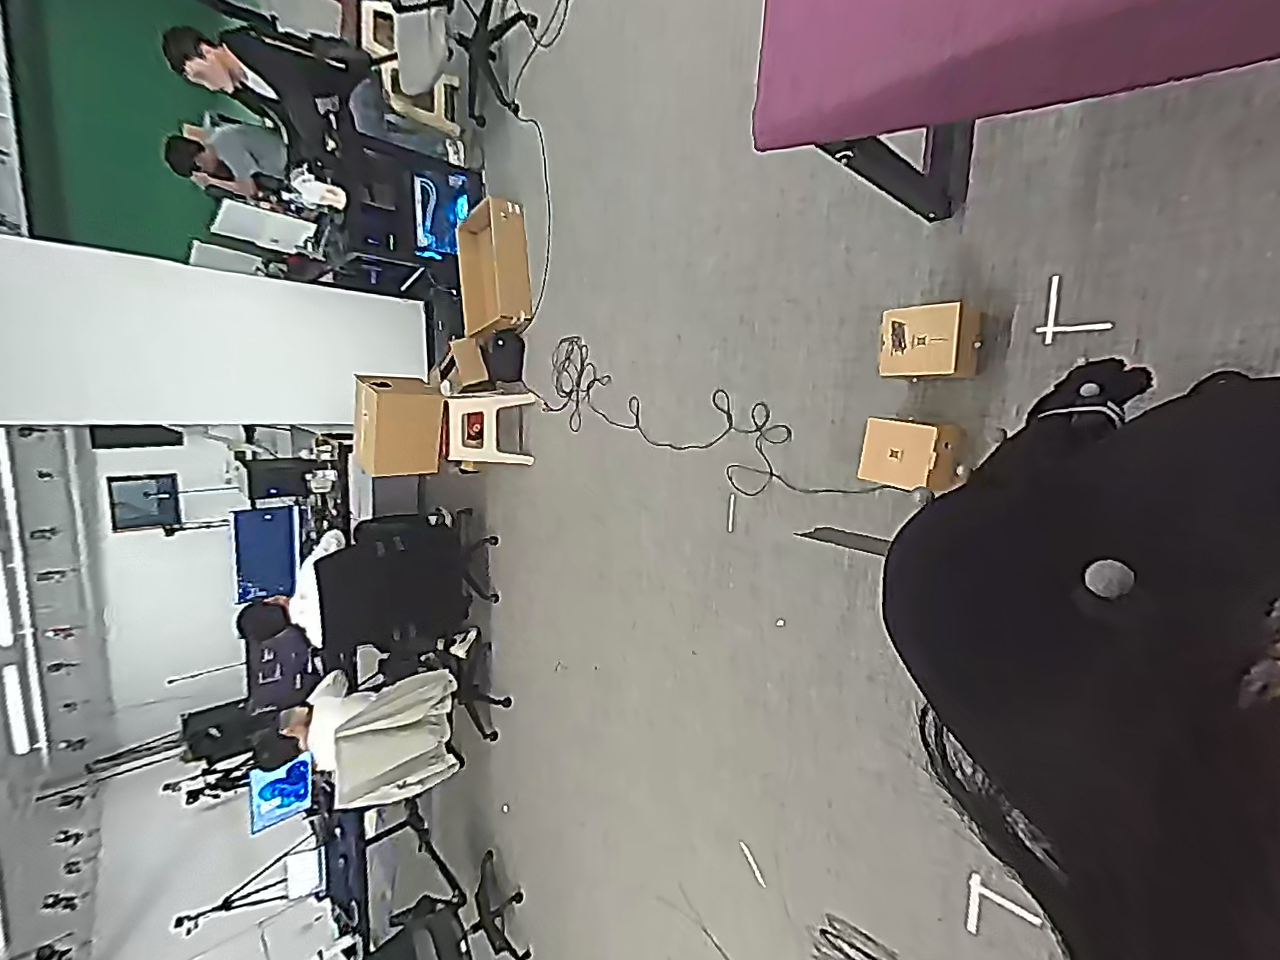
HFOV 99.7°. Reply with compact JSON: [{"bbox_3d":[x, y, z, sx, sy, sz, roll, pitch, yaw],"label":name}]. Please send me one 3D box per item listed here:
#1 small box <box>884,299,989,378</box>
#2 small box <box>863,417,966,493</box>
[{"bbox_3d":[0.733,-0.343,1.338,0.179,0.176,0.168,9,101,47],"label":"small box"},{"bbox_3d":[0.712,-0.071,1.399,0.179,0.176,0.168,18,107,47],"label":"small box"}]
